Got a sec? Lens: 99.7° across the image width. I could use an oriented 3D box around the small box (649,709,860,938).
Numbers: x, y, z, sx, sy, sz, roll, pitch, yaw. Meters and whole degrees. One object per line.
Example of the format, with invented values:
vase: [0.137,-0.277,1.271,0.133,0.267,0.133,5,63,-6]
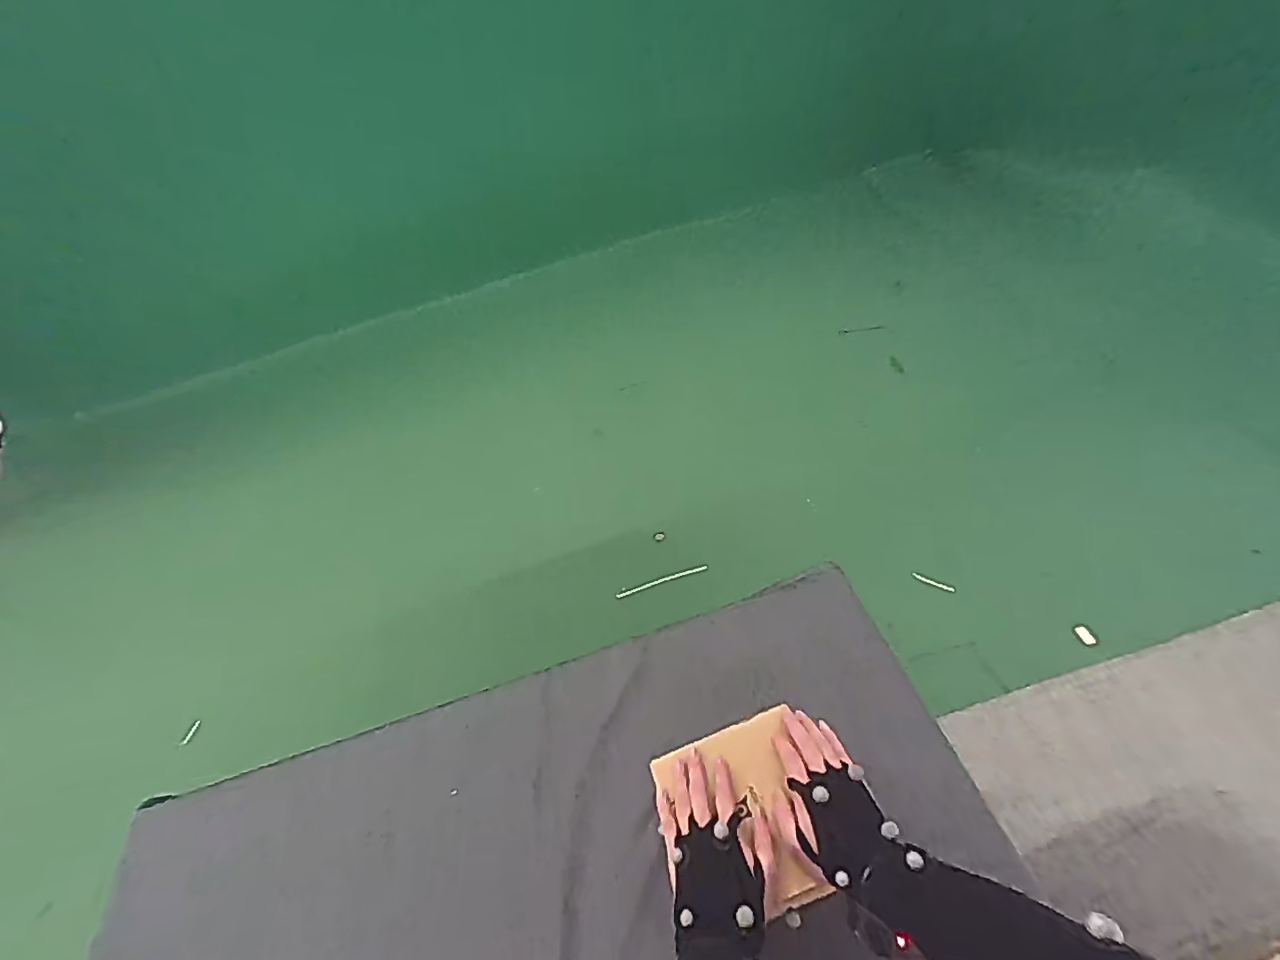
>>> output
small box: [0.129,0.407,0.644,0.179,0.176,0.168,-23,49,-5]
